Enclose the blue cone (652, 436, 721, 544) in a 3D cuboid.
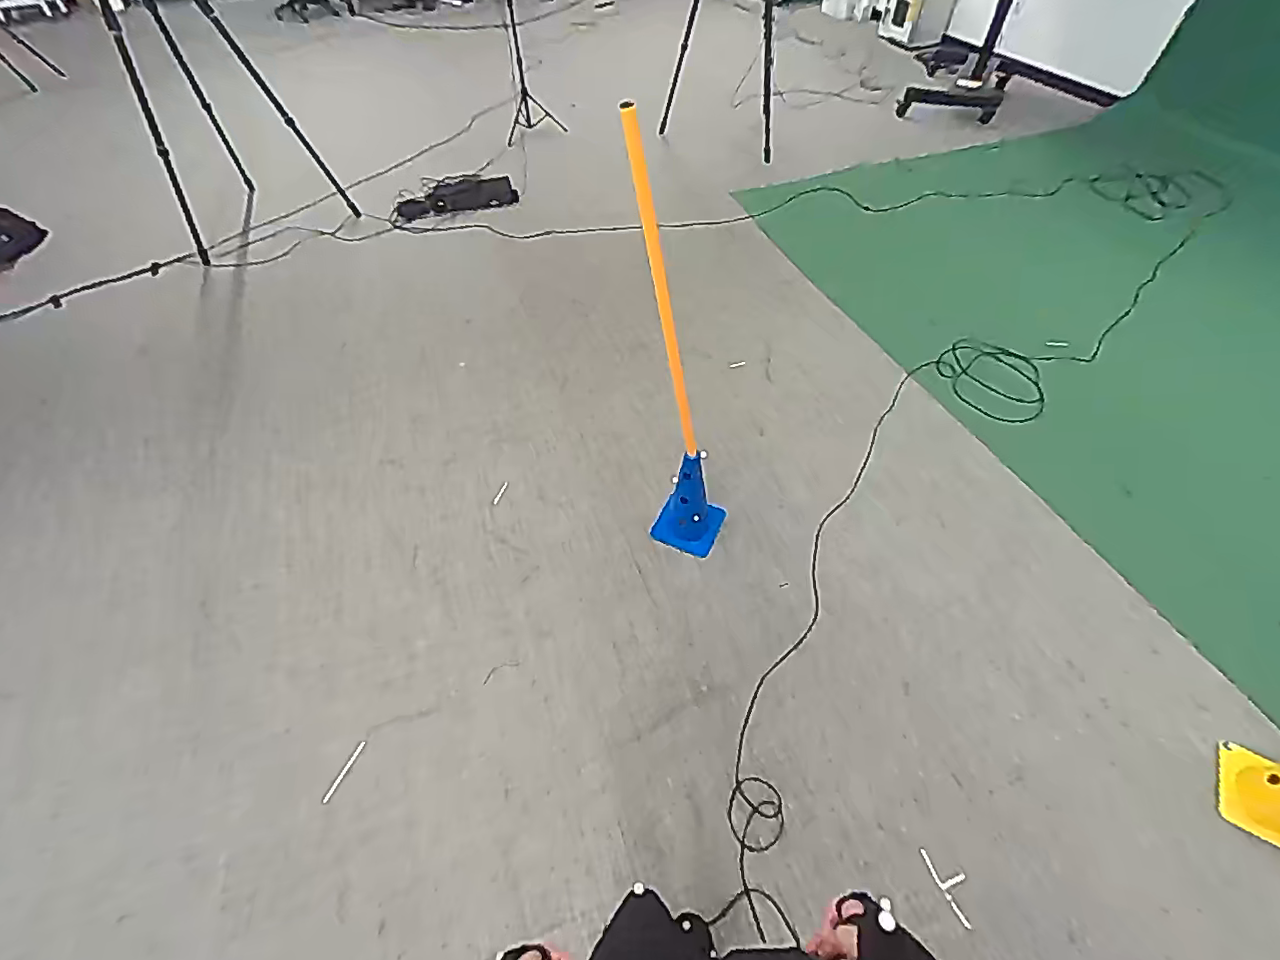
[{"bbox_3d":[0.139,0.014,1.598,0.193,0.380,0.192,18,57,17],"label":"blue cone"}]
